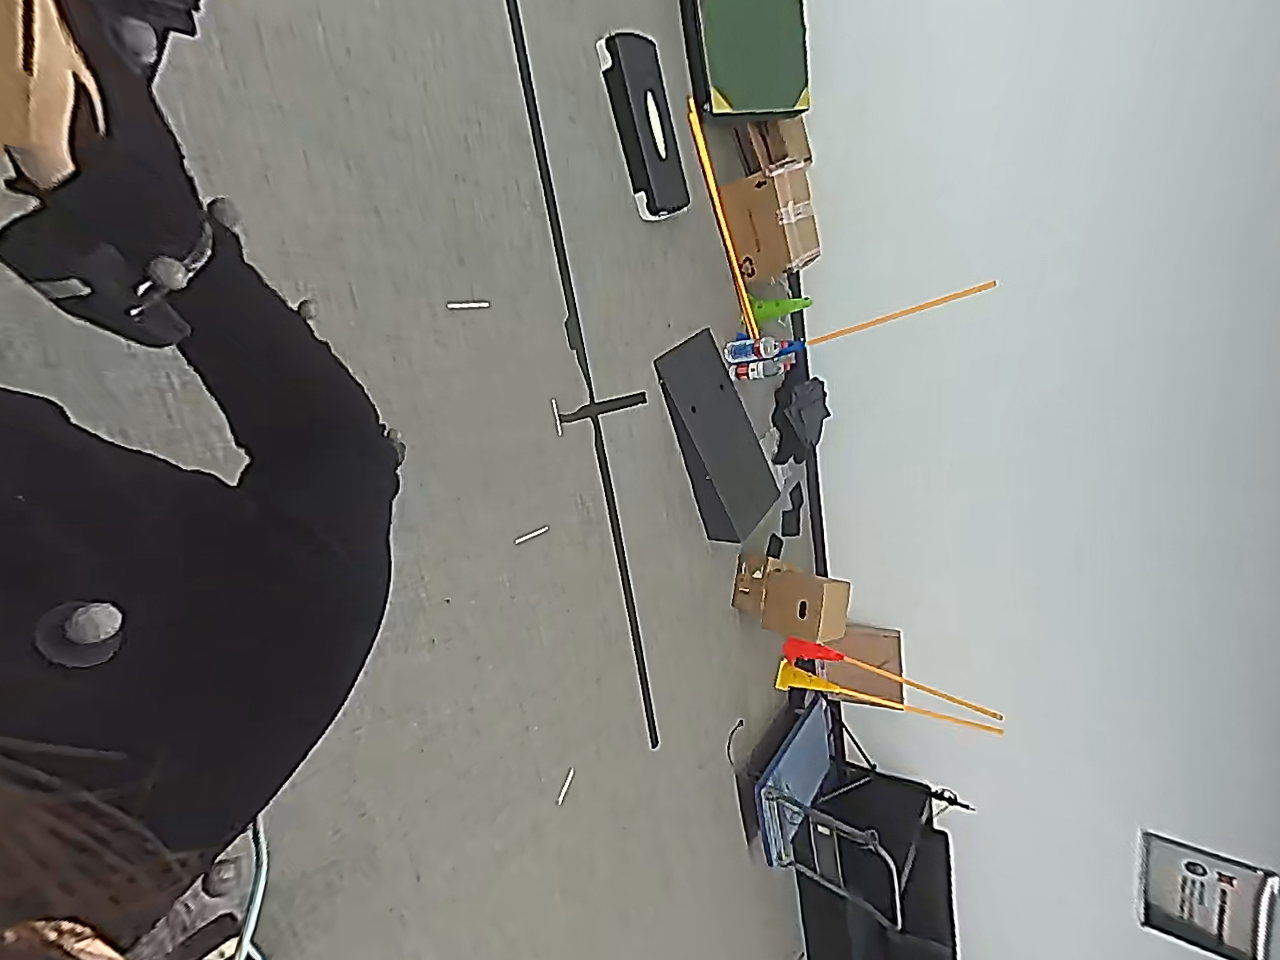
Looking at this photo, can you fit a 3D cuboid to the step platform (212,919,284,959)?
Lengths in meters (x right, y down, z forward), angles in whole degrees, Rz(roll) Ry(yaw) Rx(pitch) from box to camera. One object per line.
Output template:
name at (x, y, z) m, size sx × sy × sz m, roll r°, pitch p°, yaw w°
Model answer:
step platform at (-1.052, 1.241, 1.029) m, size 0.684 × 0.204 × 0.286 m, roll -16°, pitch 103°, yaw -49°
